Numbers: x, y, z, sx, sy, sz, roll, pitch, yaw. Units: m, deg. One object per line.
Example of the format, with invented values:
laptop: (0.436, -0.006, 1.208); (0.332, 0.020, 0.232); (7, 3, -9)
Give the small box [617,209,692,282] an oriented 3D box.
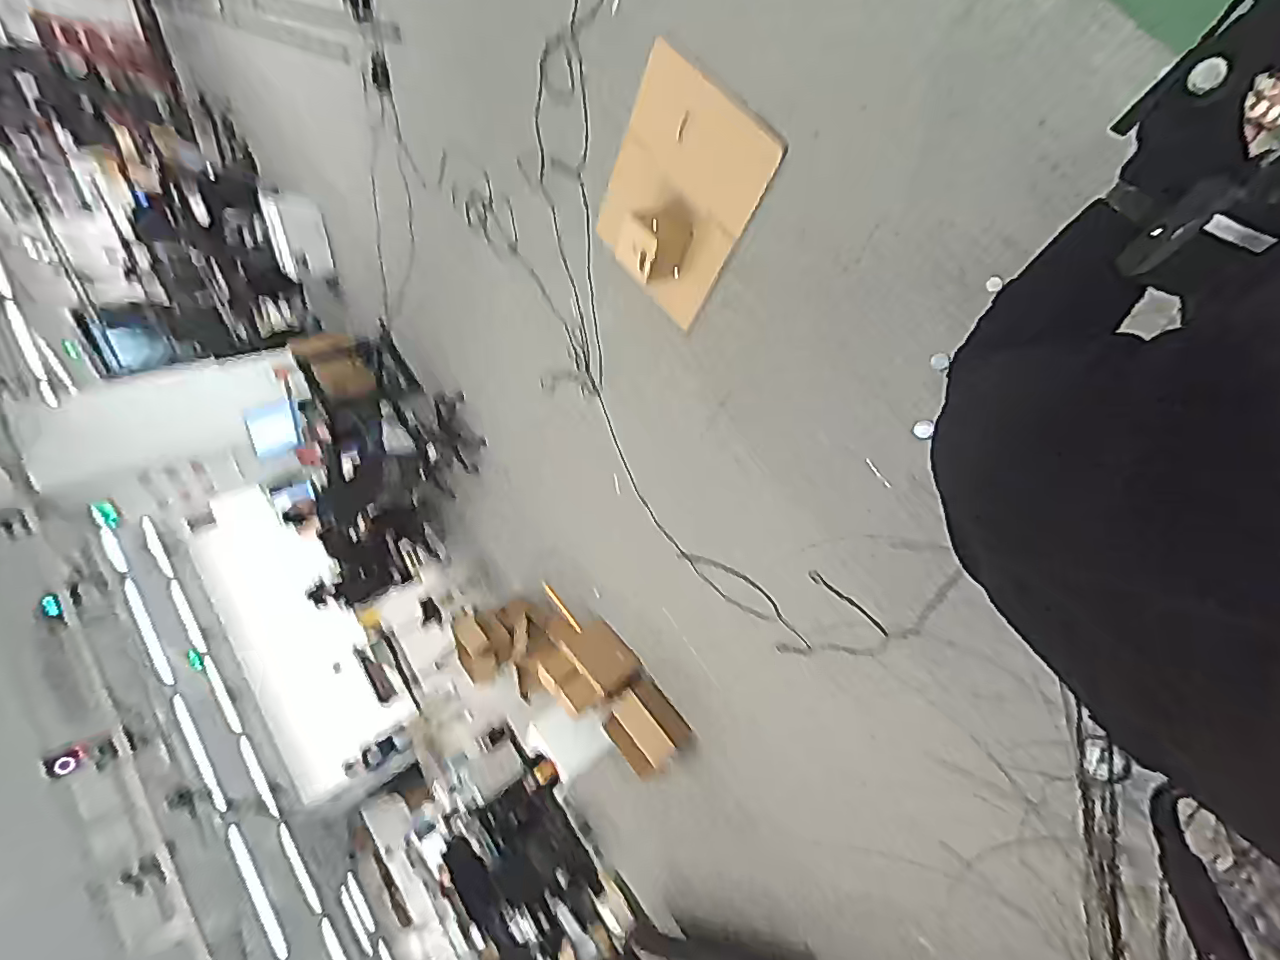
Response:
small box: (0.052, -0.821, 1.881); (0.179, 0.176, 0.168); (50, 143, 19)
